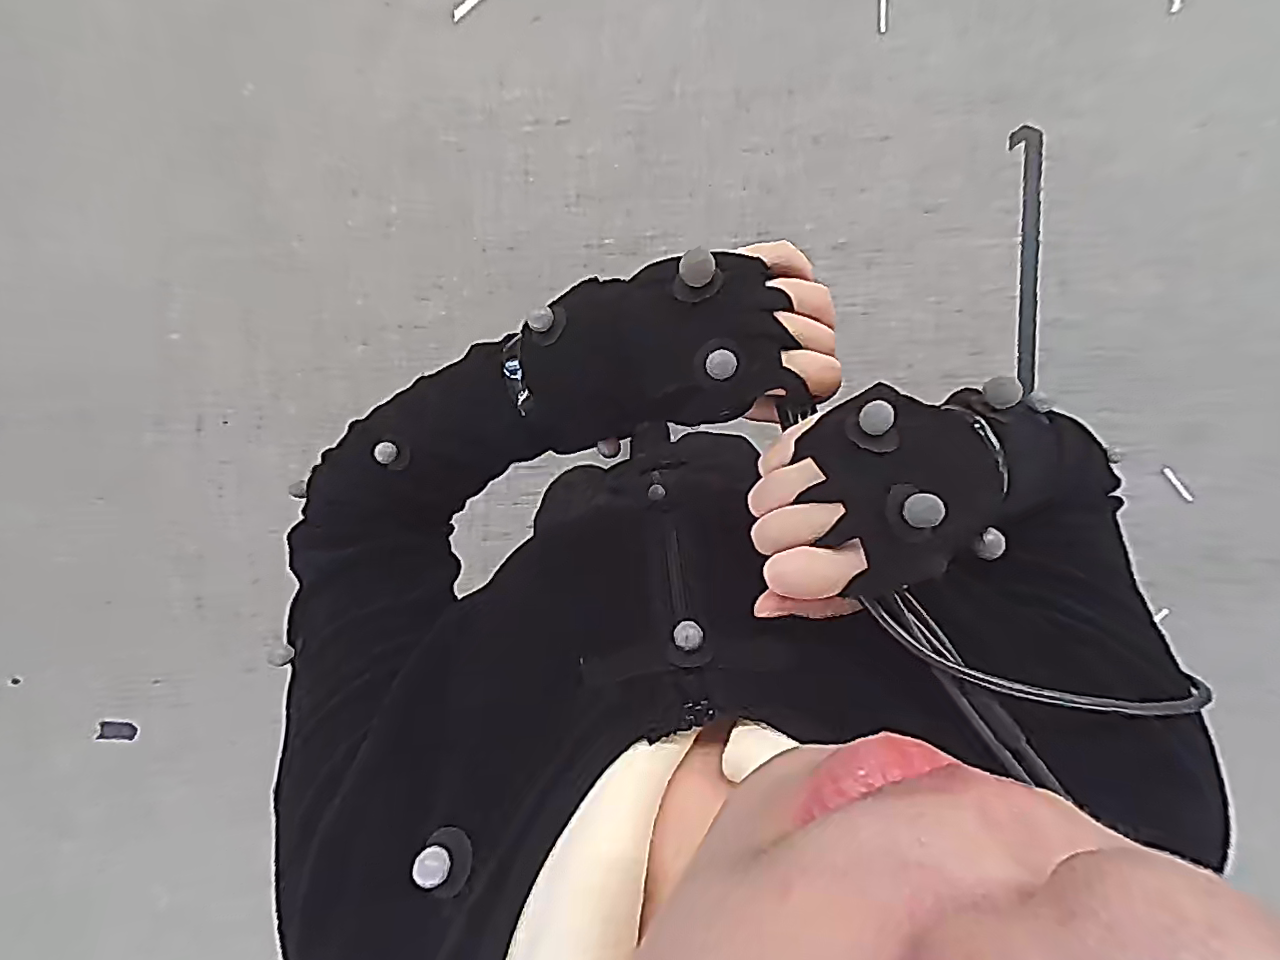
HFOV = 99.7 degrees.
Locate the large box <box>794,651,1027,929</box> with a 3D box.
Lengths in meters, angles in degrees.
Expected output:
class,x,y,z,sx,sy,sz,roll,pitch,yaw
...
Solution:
class,x,y,z,sx,sy,sz,roll,pitch,yaw
large box,0.575,0.658,1.211,0.320,0.320,0.408,-13,94,0
